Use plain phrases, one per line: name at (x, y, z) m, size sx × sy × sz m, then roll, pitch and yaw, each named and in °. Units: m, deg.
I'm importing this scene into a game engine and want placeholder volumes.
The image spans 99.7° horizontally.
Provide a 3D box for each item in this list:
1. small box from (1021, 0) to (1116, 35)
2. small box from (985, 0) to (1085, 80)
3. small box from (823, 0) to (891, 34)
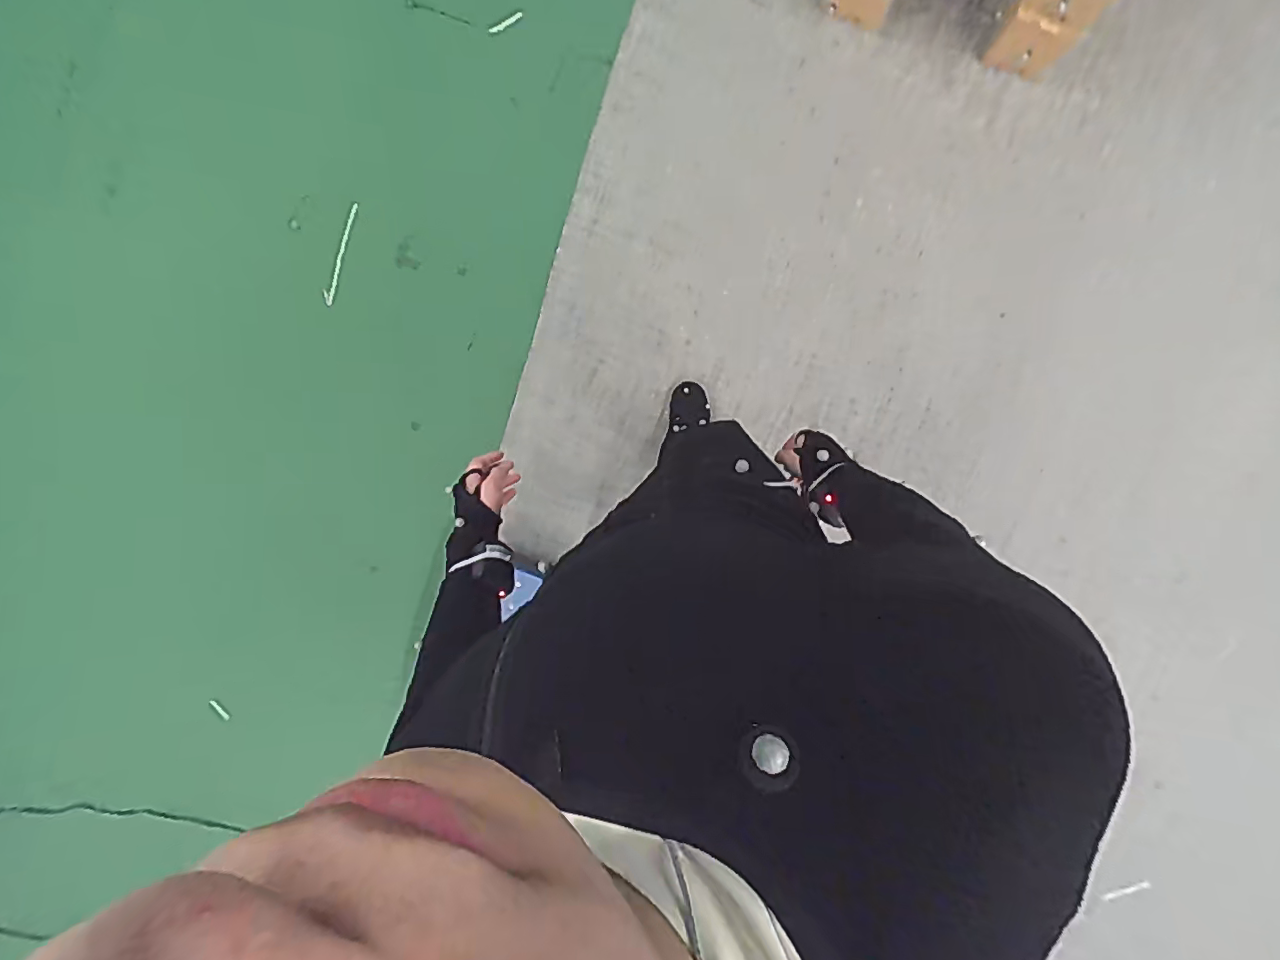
small box at (0.972, -1.126, 1.159) m, size 0.168 × 0.176 × 0.179 m, roll 27°, pitch 98°, yaw 4°
small box at (0.987, -1.133, 1.323) m, size 0.168 × 0.176 × 0.179 m, roll 22°, pitch 99°, yaw 3°
small box at (0.581, -1.293, 1.367) m, size 0.168 × 0.176 × 0.179 m, roll 24°, pitch 98°, yaw 3°
